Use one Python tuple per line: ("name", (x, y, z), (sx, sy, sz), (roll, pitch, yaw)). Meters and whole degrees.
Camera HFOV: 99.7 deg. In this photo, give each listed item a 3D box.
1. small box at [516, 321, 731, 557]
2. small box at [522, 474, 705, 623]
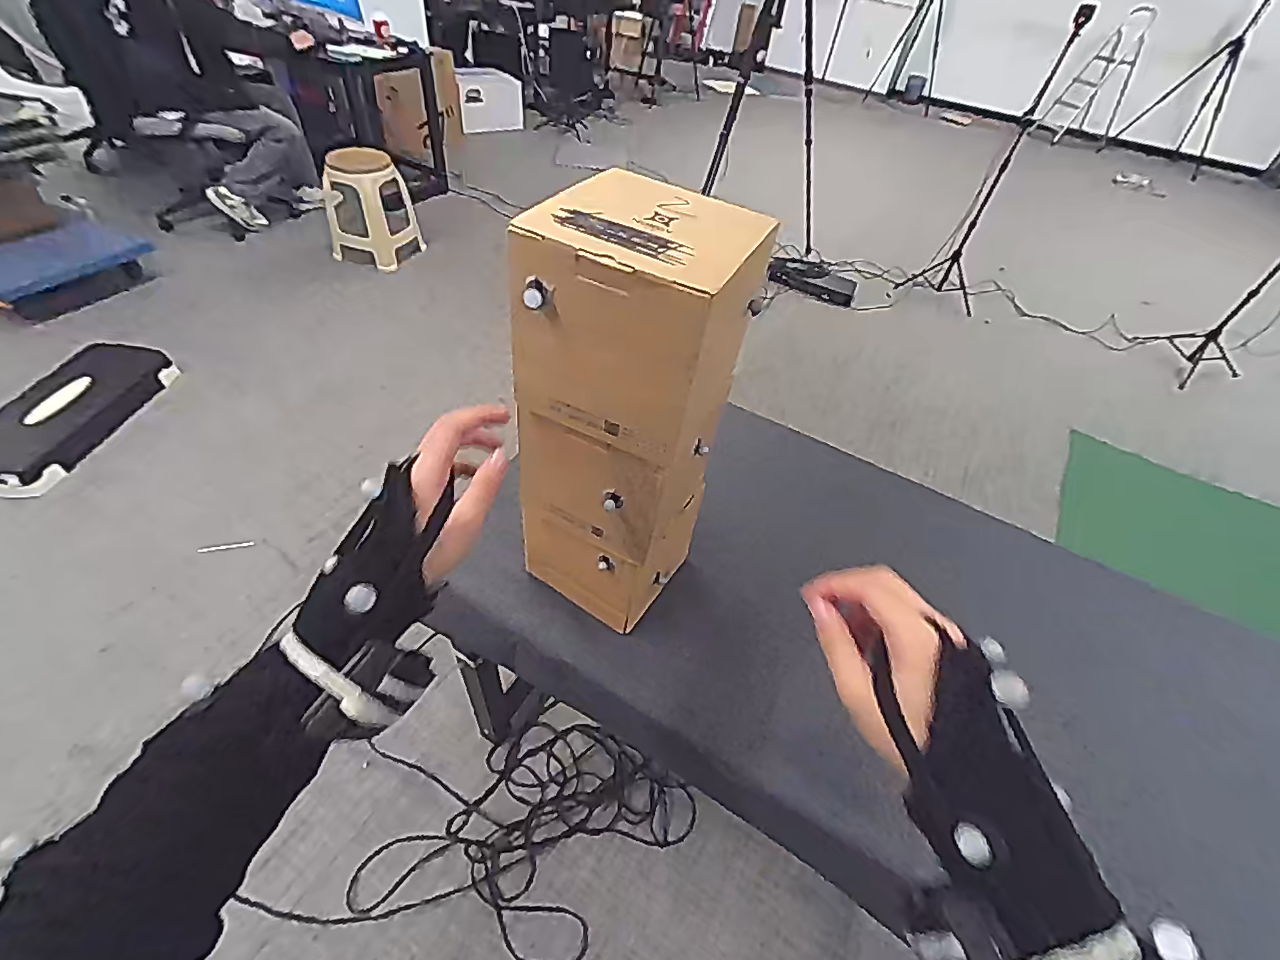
("small box", (-0.020, -0.045, 0.610), (0.168, 0.176, 0.179), (26, 47, 13))
("small box", (-0.040, 0.061, 0.732), (0.179, 0.176, 0.168), (29, 49, 18))
